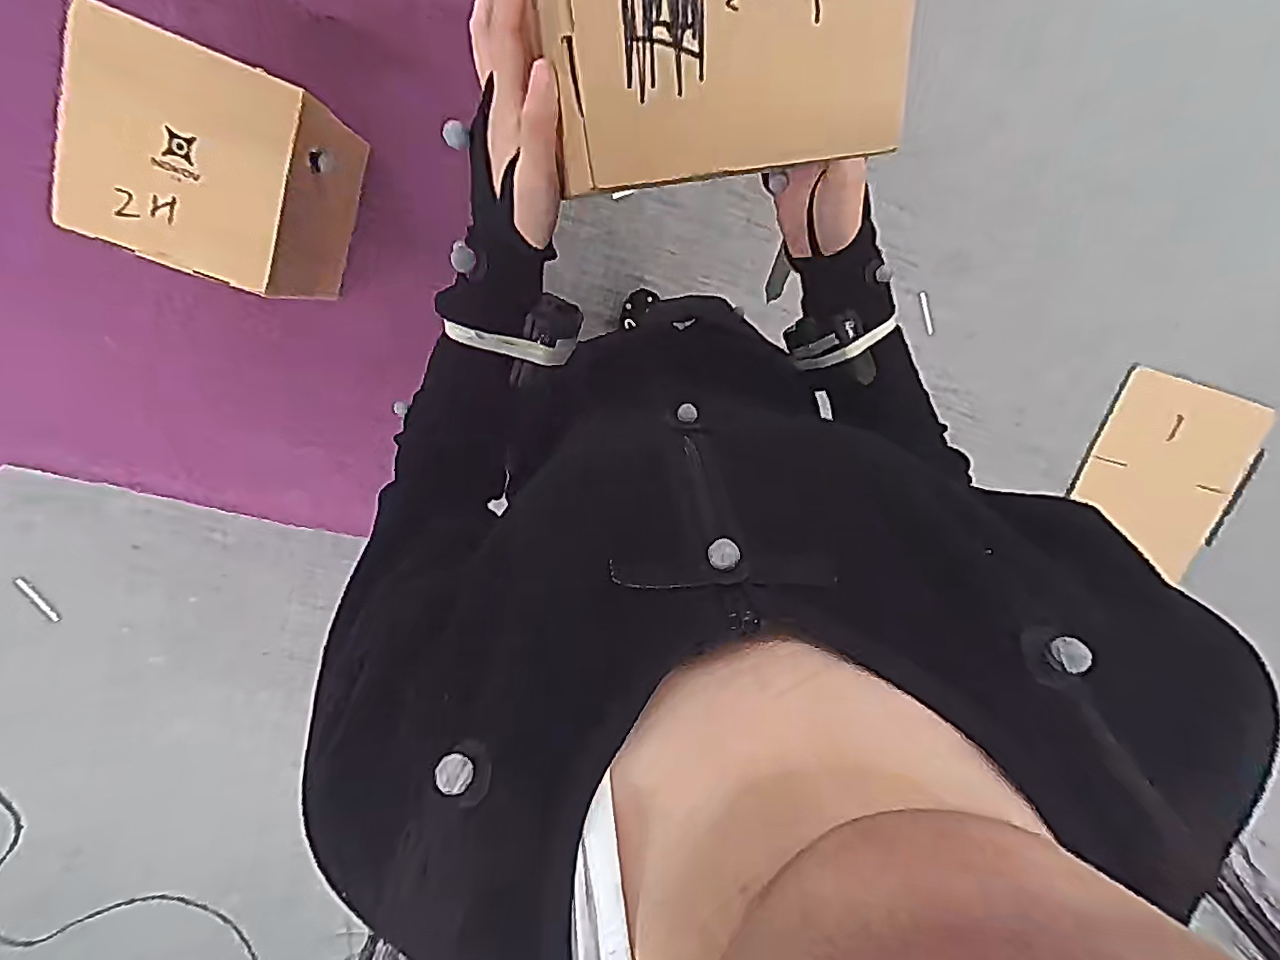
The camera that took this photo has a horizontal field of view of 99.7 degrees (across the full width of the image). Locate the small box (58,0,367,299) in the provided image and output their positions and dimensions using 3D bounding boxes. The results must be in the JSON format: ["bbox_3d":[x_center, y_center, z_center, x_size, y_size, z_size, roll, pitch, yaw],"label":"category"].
[{"bbox_3d":[-0.387,-0.289,0.522,0.168,0.176,0.179,18,104,-13],"label":"small box"}]

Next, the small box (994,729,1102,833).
[{"bbox_3d":[1.180,0.866,1.571,0.179,0.176,0.168,-26,108,2],"label":"small box"}]
